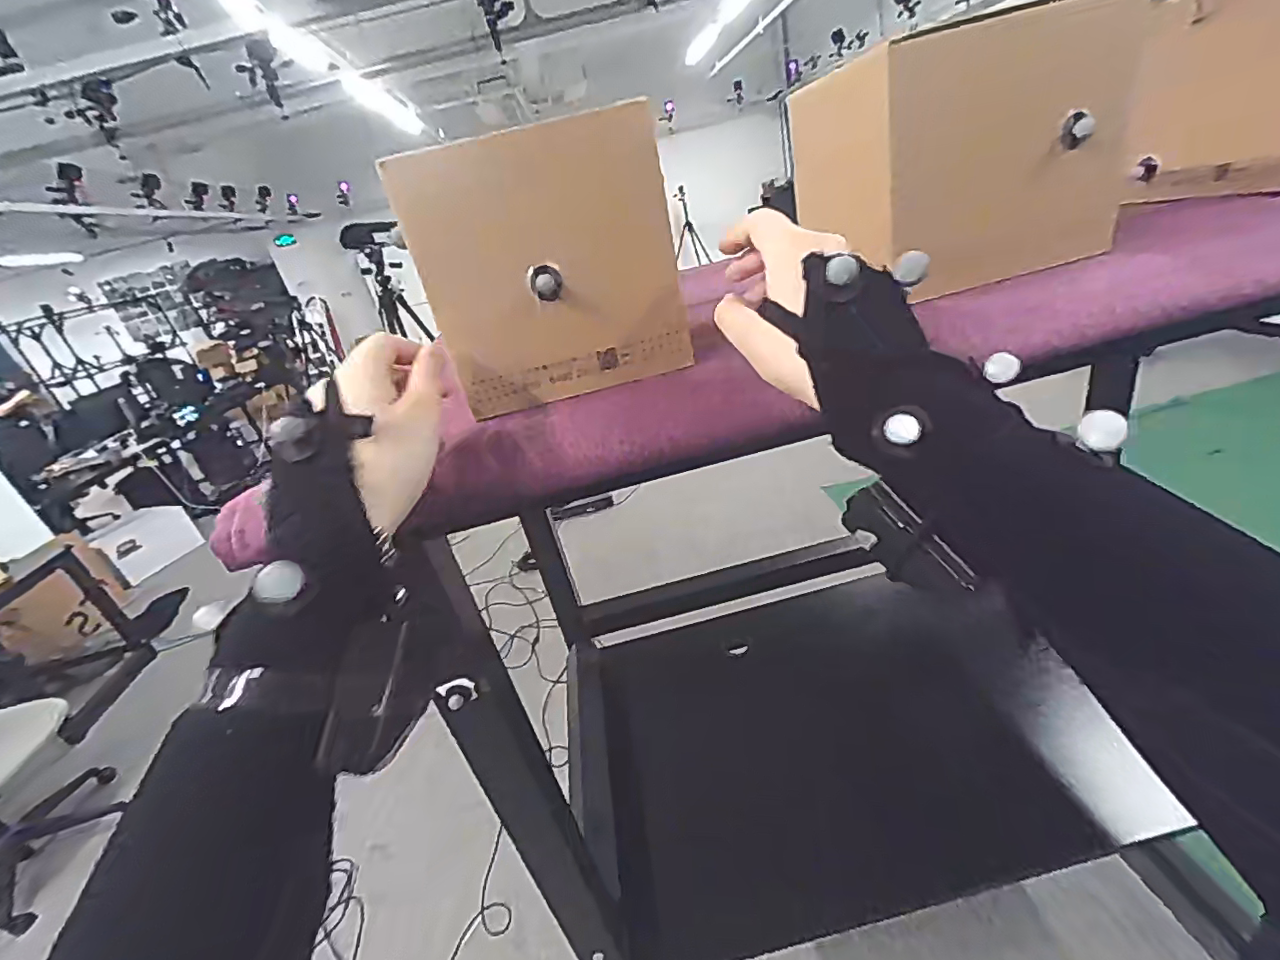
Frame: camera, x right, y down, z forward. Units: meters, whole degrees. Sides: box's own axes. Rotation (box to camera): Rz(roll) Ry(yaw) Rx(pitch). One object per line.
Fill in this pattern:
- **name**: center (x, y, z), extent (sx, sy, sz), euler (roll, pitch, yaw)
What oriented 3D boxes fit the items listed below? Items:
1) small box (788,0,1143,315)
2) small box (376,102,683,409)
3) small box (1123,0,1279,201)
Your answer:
- **small box**: center (0.239, -0.249, 0.442), extent (0.179, 0.176, 0.168), euler (-16, 26, -2)
- **small box**: center (-0.071, -0.166, 0.425), extent (0.168, 0.176, 0.179), euler (-14, 27, -3)
- **small box**: center (0.572, -0.350, 0.470), extent (0.179, 0.176, 0.168), euler (-14, 24, 0)
